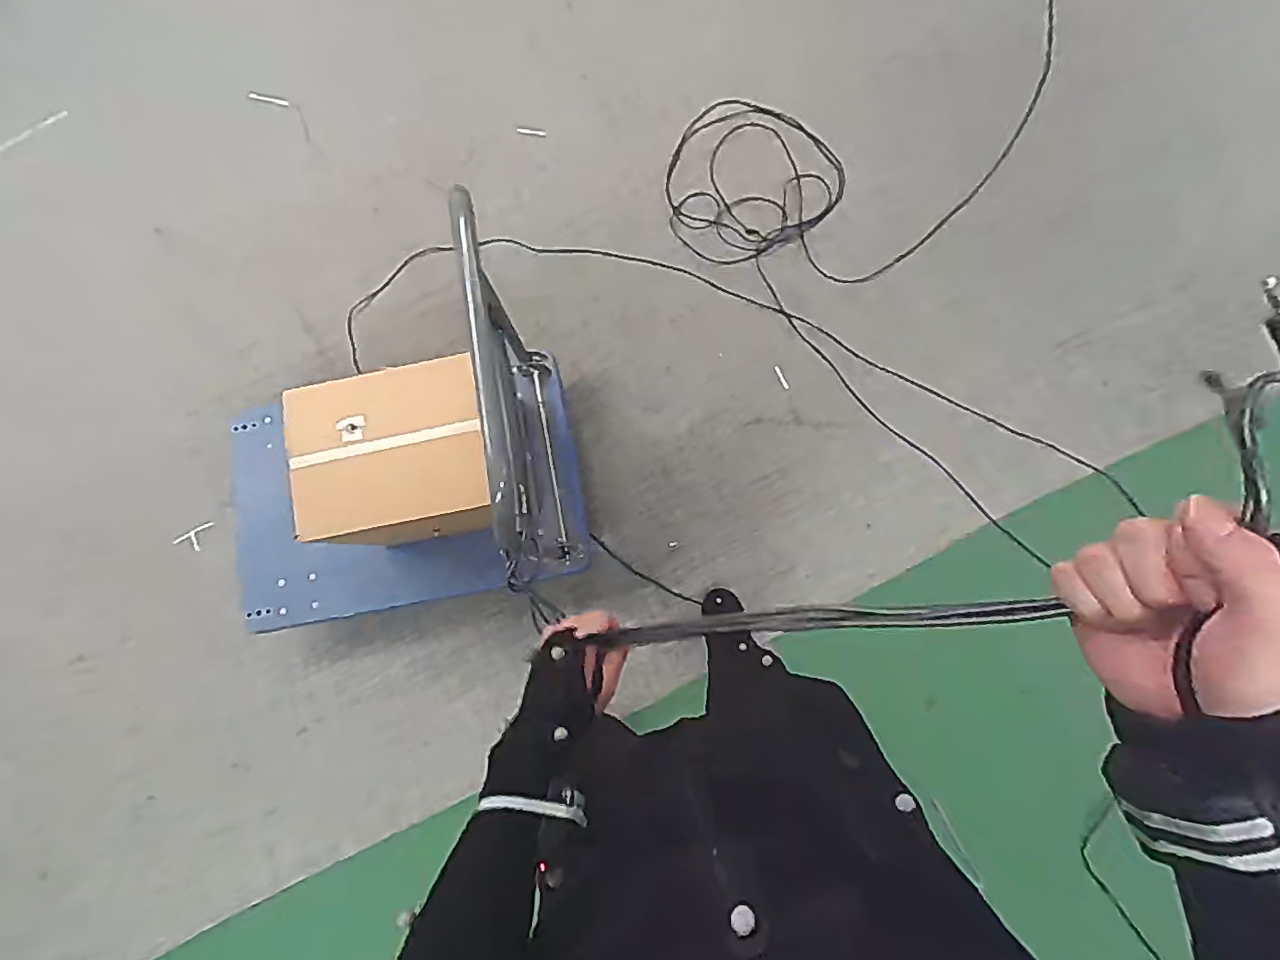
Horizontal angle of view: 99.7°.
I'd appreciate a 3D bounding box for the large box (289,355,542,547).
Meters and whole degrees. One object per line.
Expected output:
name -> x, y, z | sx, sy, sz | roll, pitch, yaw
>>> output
large box -> -0.470, -0.040, 1.201 | 0.408, 0.320, 0.320 | -12, 80, 3
